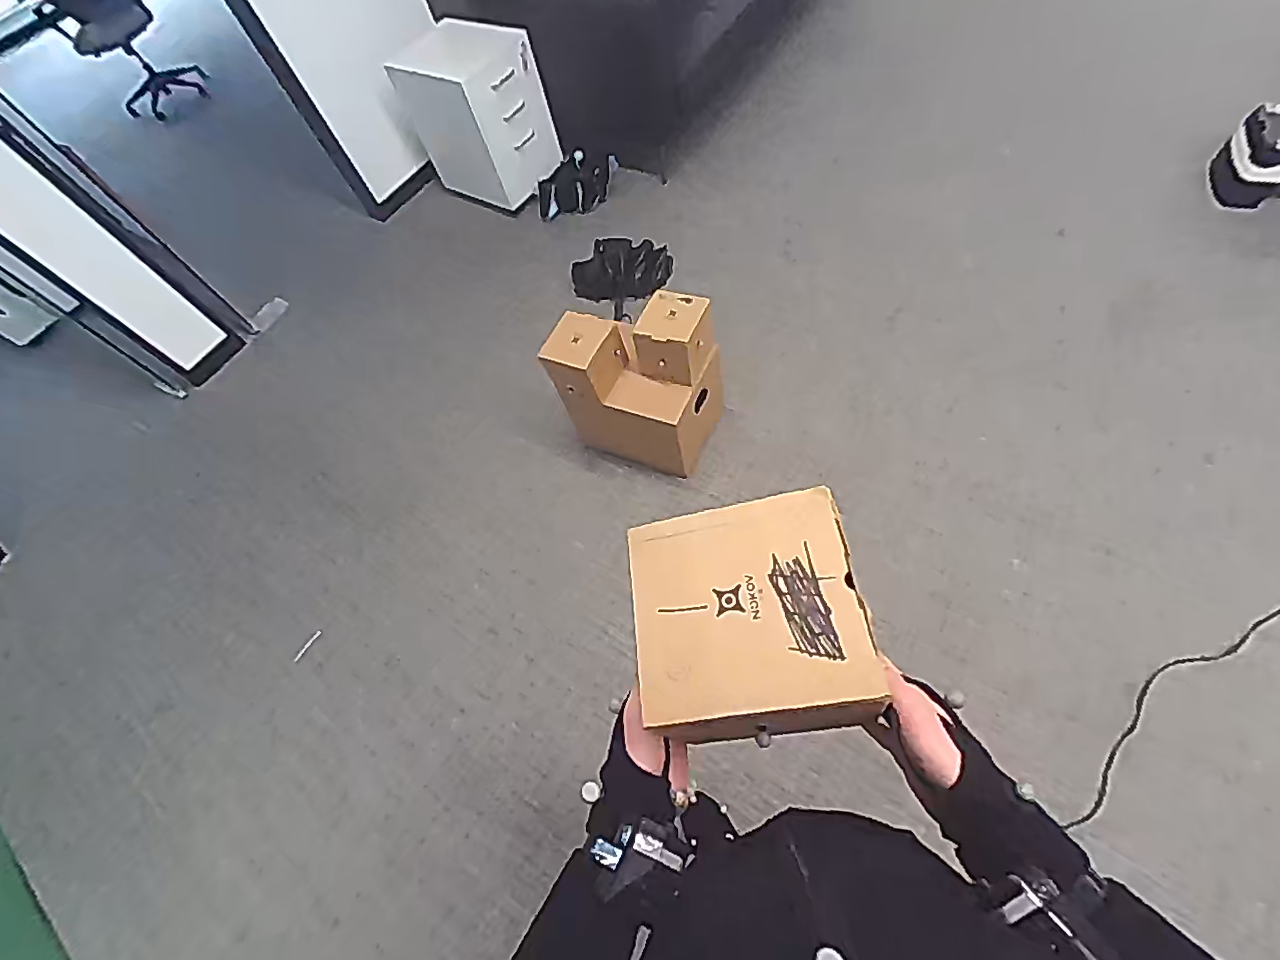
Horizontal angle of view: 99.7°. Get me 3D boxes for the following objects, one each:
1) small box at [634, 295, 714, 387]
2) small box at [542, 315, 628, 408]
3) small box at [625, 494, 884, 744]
[{"bbox_3d":[0.105,-0.390,1.533,0.168,0.176,0.179,17,65,21],"label":"small box"},{"bbox_3d":[-0.147,-0.341,1.563,0.168,0.176,0.179,20,71,23],"label":"small box"},{"bbox_3d":[0.097,0.135,0.486,0.179,0.176,0.168,-13,58,12],"label":"small box"}]
